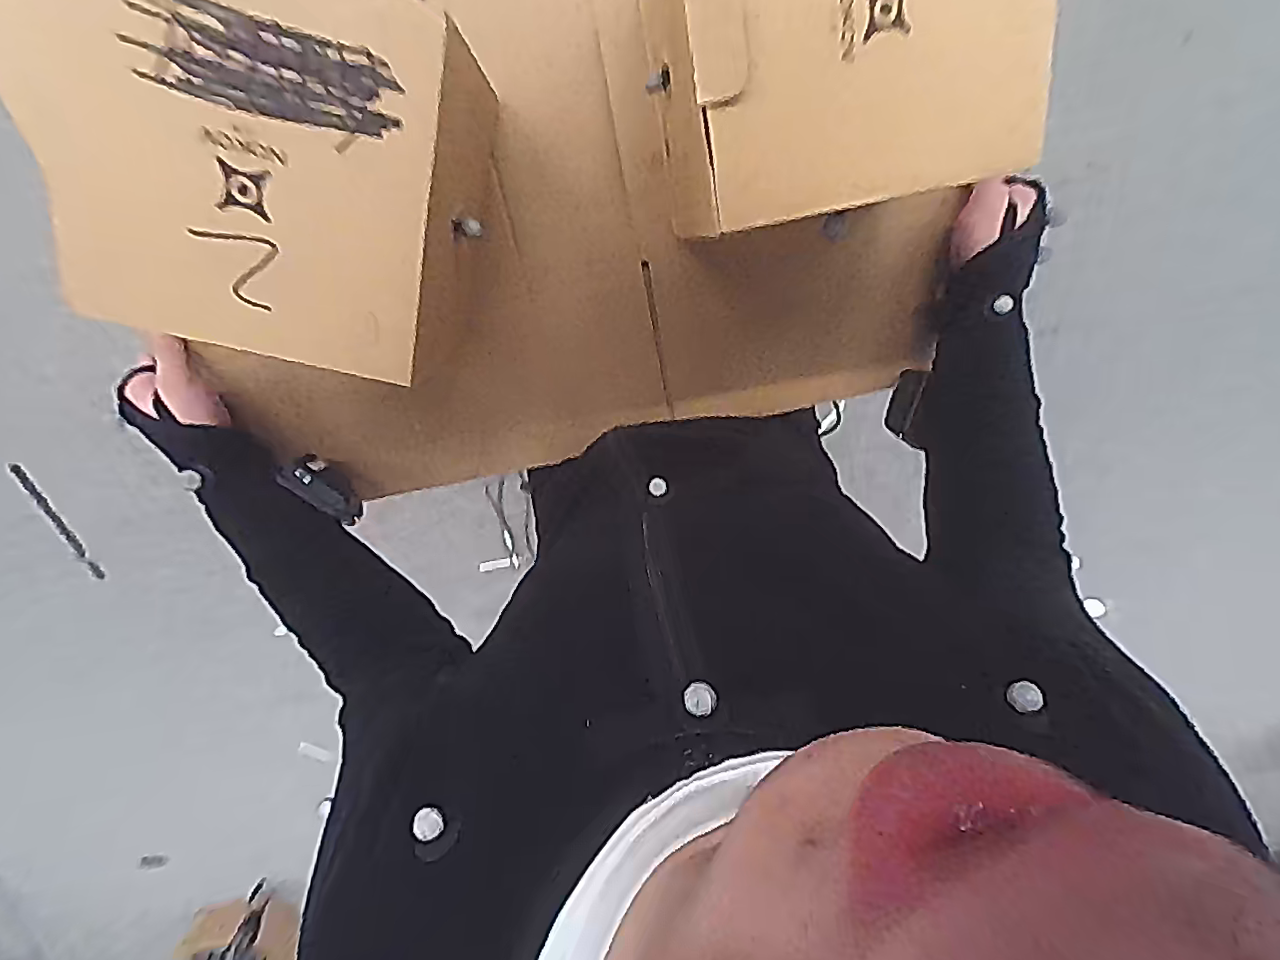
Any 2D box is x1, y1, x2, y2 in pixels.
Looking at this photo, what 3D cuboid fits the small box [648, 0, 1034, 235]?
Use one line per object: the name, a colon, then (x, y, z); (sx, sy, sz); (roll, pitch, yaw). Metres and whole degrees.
small box: (0.110, -0.262, 0.346); (0.179, 0.176, 0.168); (-11, 114, 1)
